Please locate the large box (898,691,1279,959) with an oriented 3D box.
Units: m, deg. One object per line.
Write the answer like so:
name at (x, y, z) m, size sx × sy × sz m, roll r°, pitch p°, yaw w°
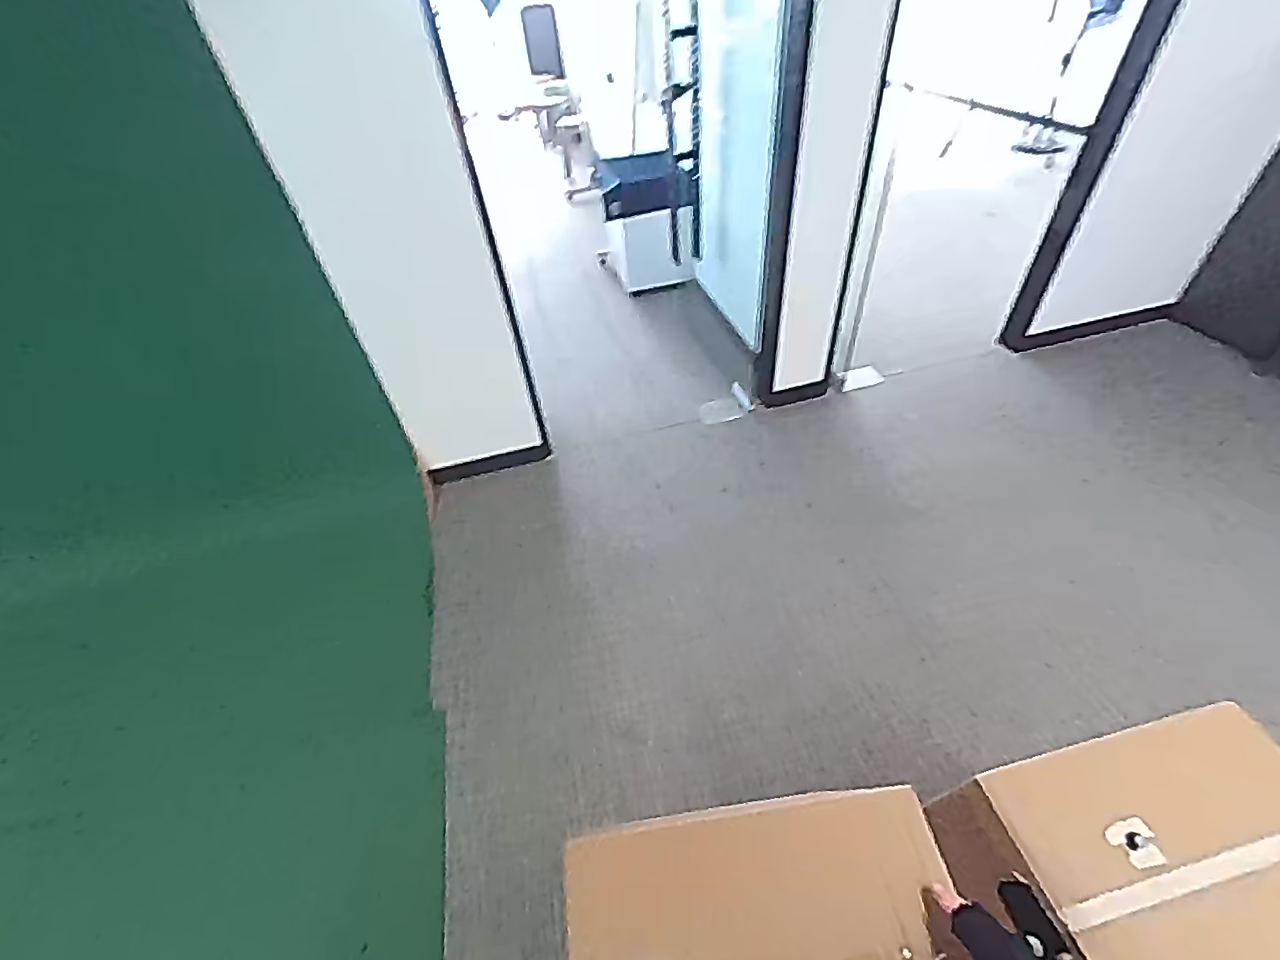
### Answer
large box at (0.665, 0.547, 0.760) m, size 0.408 × 0.320 × 0.320 m, roll -13°, pitch 50°, yaw -6°
